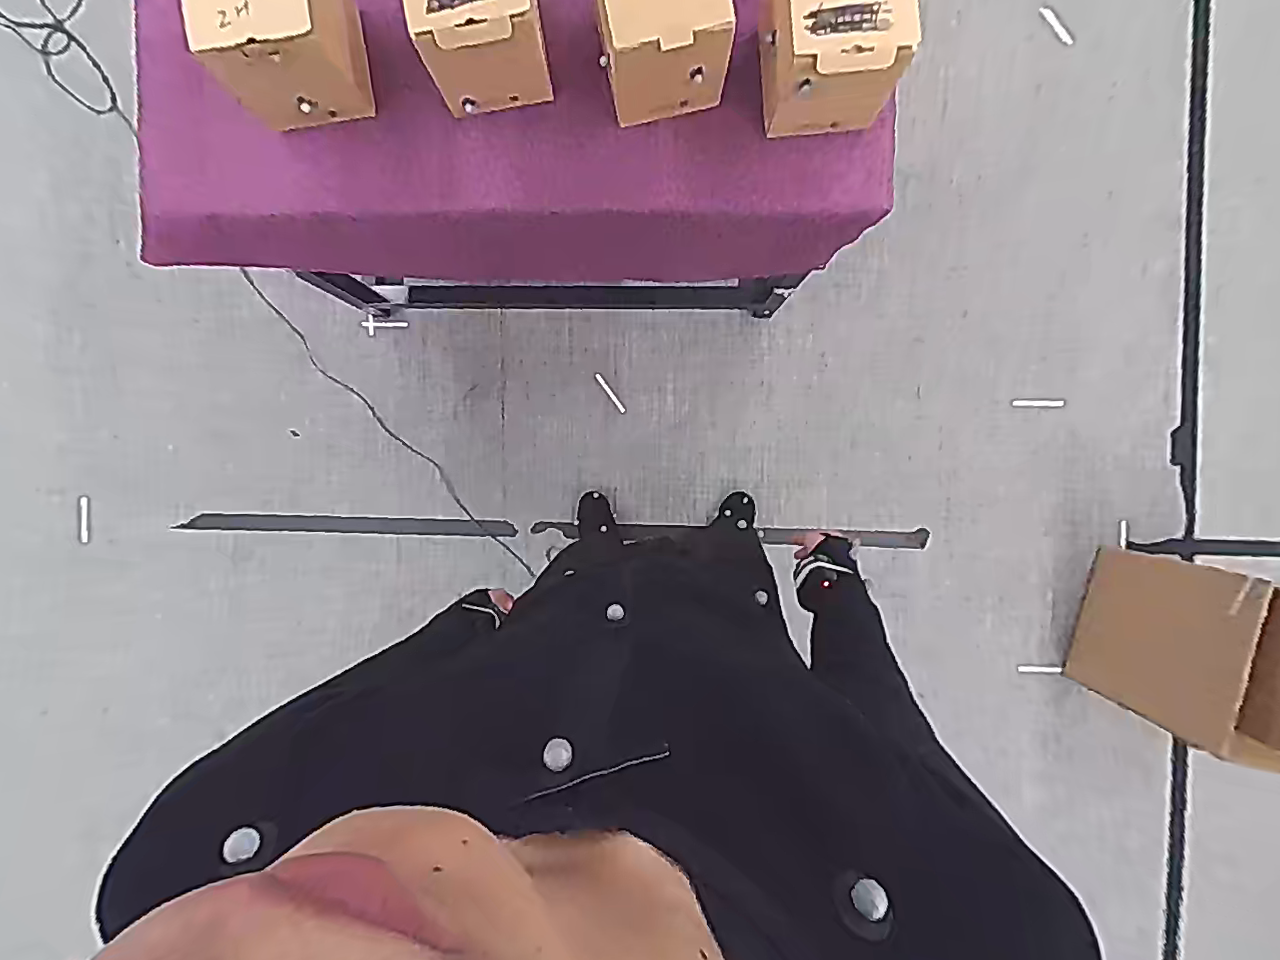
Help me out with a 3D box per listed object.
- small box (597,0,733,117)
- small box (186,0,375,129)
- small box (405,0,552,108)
[{"bbox_3d":[0.029,-0.667,0.786,0.168,0.176,0.179,-12,91,1],"label":"small box"},{"bbox_3d":[-0.515,-0.658,0.788,0.168,0.176,0.179,-8,92,1],"label":"small box"},{"bbox_3d":[-0.233,-0.680,0.786,0.168,0.176,0.179,-10,91,1],"label":"small box"}]
